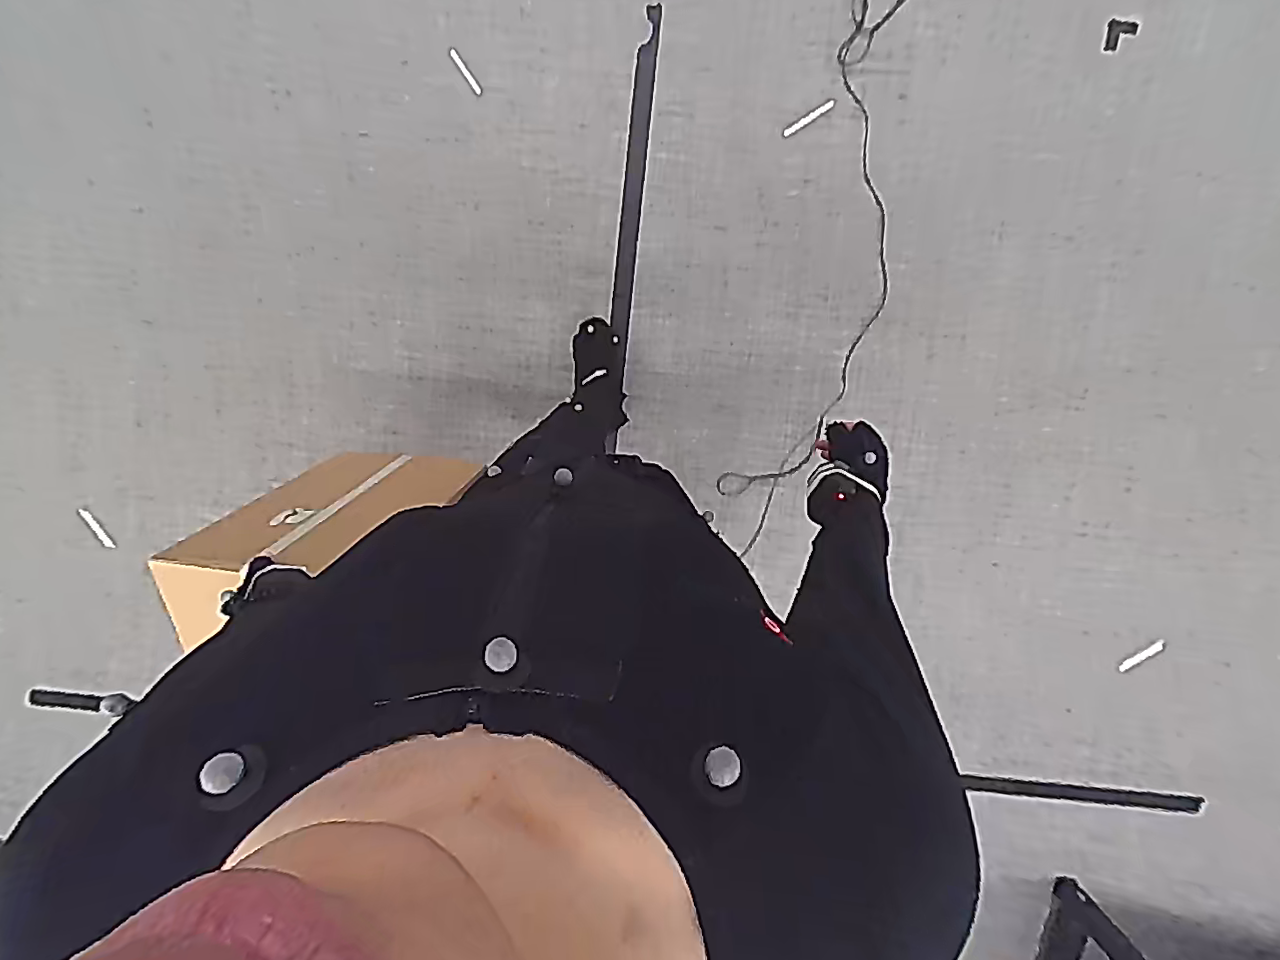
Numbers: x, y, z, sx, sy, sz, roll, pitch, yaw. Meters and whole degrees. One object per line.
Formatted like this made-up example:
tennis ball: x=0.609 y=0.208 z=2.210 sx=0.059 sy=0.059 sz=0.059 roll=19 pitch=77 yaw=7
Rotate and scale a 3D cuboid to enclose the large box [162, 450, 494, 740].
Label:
large box: x=-0.488 y=0.172 z=0.964 sx=0.320 sy=0.408 sz=0.320 roll=5 pitch=115 yaw=9
